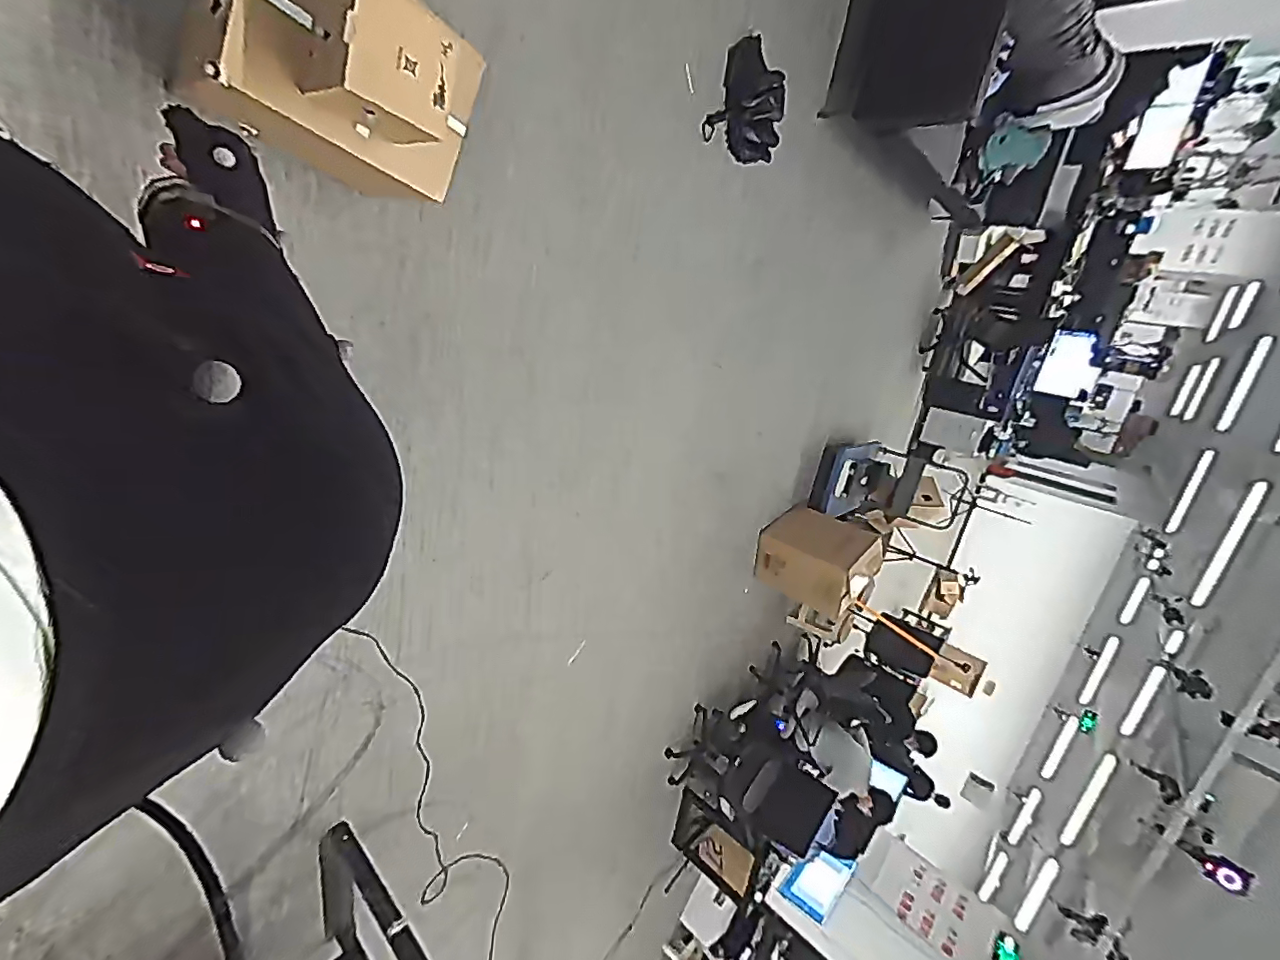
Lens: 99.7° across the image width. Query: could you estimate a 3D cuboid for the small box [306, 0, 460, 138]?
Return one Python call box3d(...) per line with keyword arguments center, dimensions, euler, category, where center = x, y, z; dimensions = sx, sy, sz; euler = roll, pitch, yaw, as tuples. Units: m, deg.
box3d(center=(-0.439, -0.705, 0.916), dimensions=(0.179, 0.176, 0.168), euler=(0, 110, -51), category="small box")
